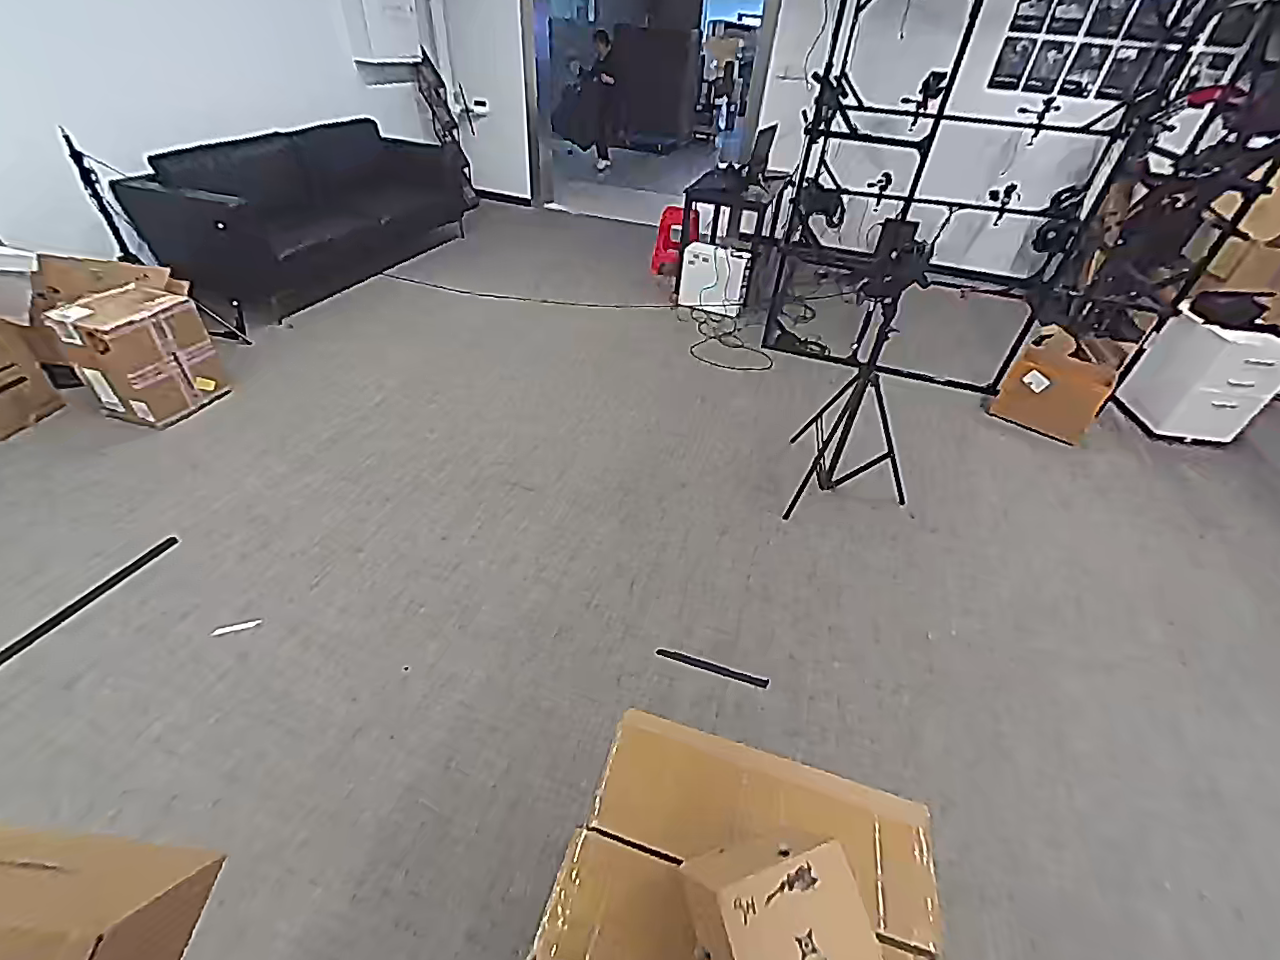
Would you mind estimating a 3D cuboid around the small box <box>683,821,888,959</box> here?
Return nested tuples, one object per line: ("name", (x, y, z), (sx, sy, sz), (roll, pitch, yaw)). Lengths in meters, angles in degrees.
("small box", (0.169, 0.543, 0.651), (0.168, 0.176, 0.179), (-11, 67, -18))
